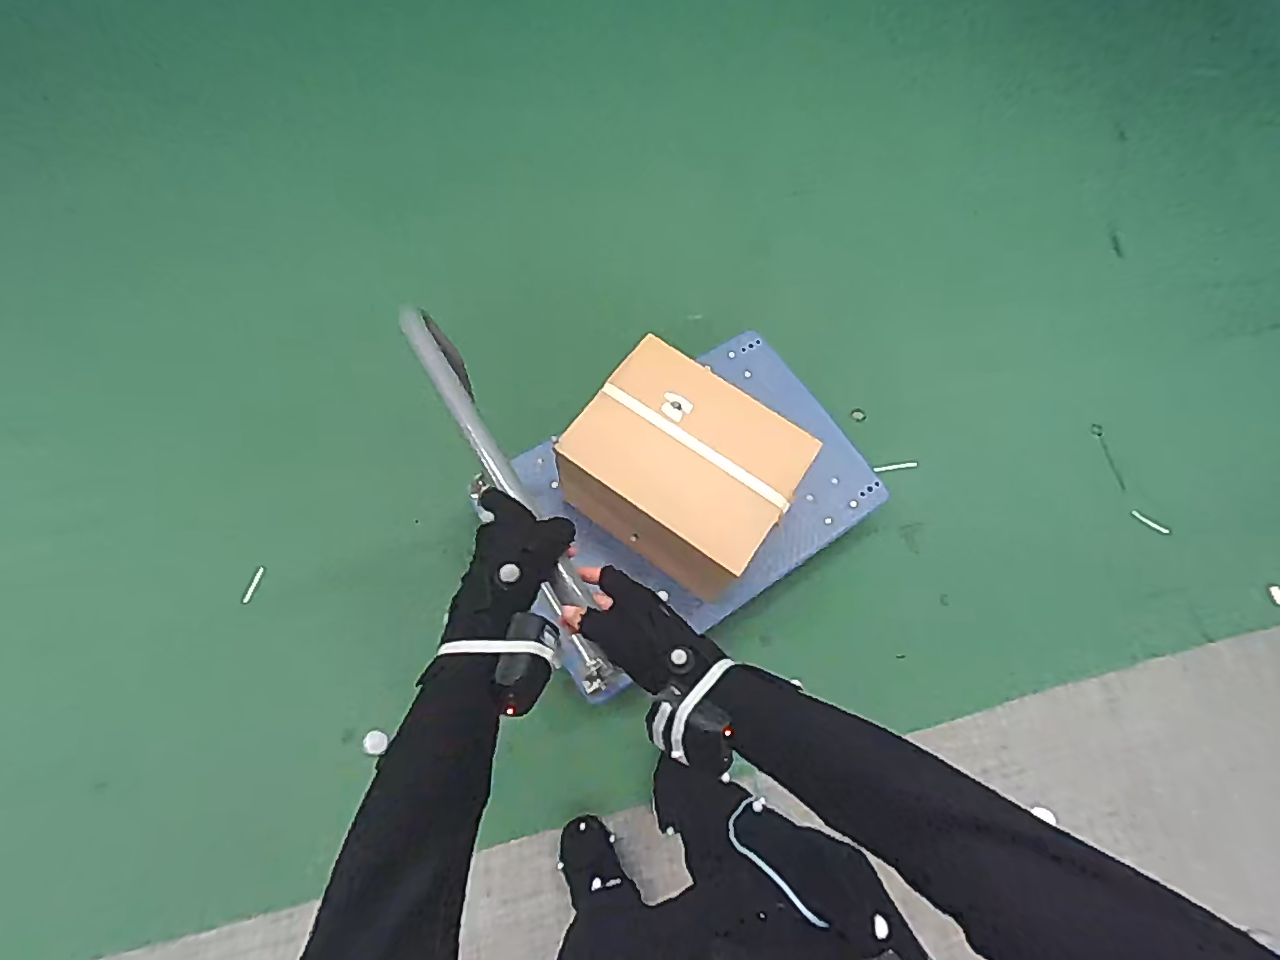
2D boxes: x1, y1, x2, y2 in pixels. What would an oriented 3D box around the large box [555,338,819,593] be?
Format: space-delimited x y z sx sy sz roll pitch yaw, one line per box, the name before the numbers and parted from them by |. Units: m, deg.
large box | 0.087 -0.013 1.140 0.408 0.320 0.320 34 71 10
